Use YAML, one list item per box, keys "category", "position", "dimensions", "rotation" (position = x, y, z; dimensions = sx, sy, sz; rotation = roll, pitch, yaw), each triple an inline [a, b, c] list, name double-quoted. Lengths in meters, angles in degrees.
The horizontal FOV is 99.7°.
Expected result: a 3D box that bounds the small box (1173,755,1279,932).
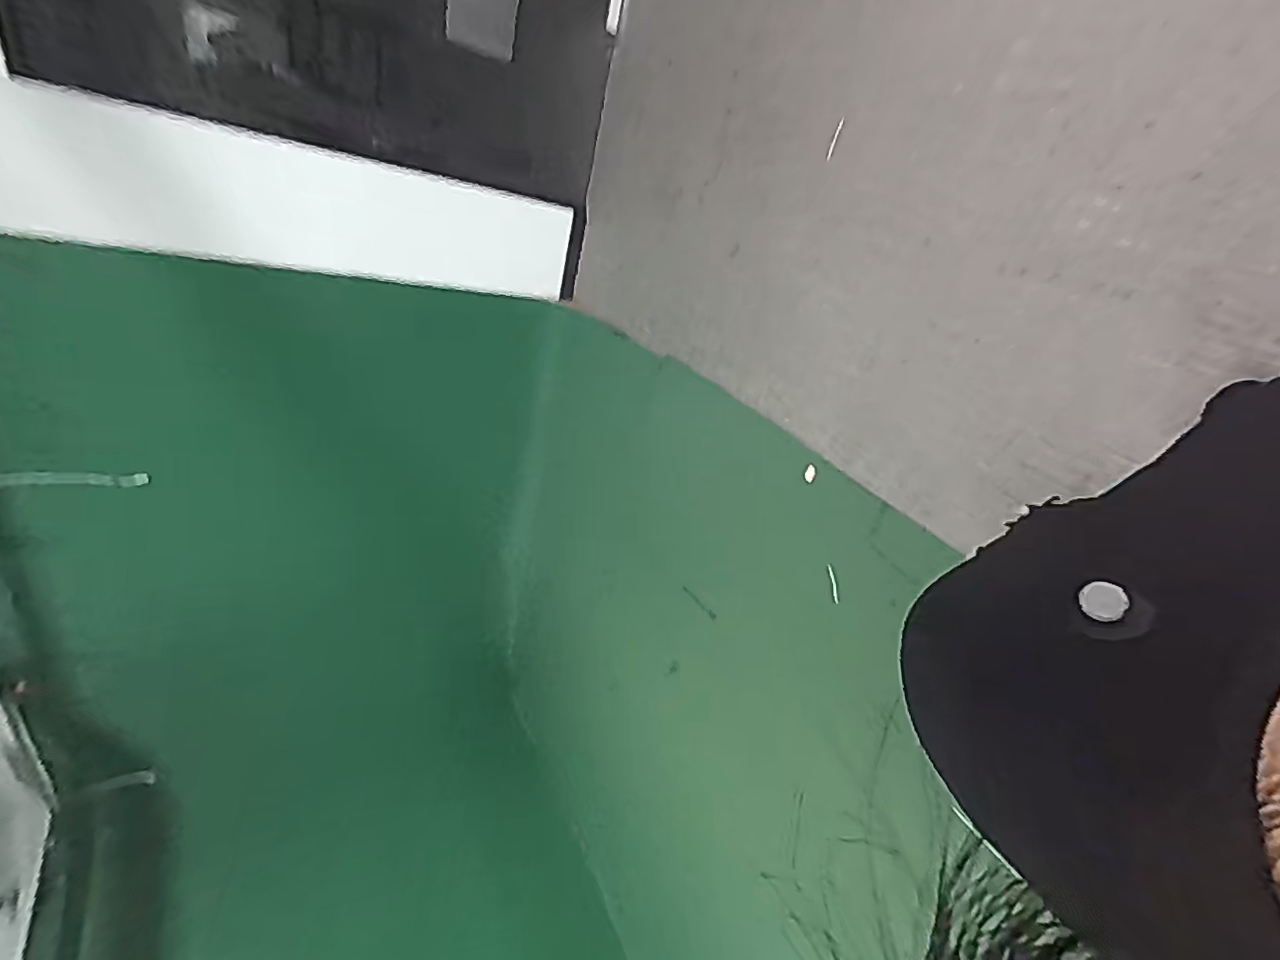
- category: "small box"
  position: [0.980, 0.546, 0.813]
  dimensions: [0.179, 0.176, 0.168]
  rotation: [48, 130, 40]
